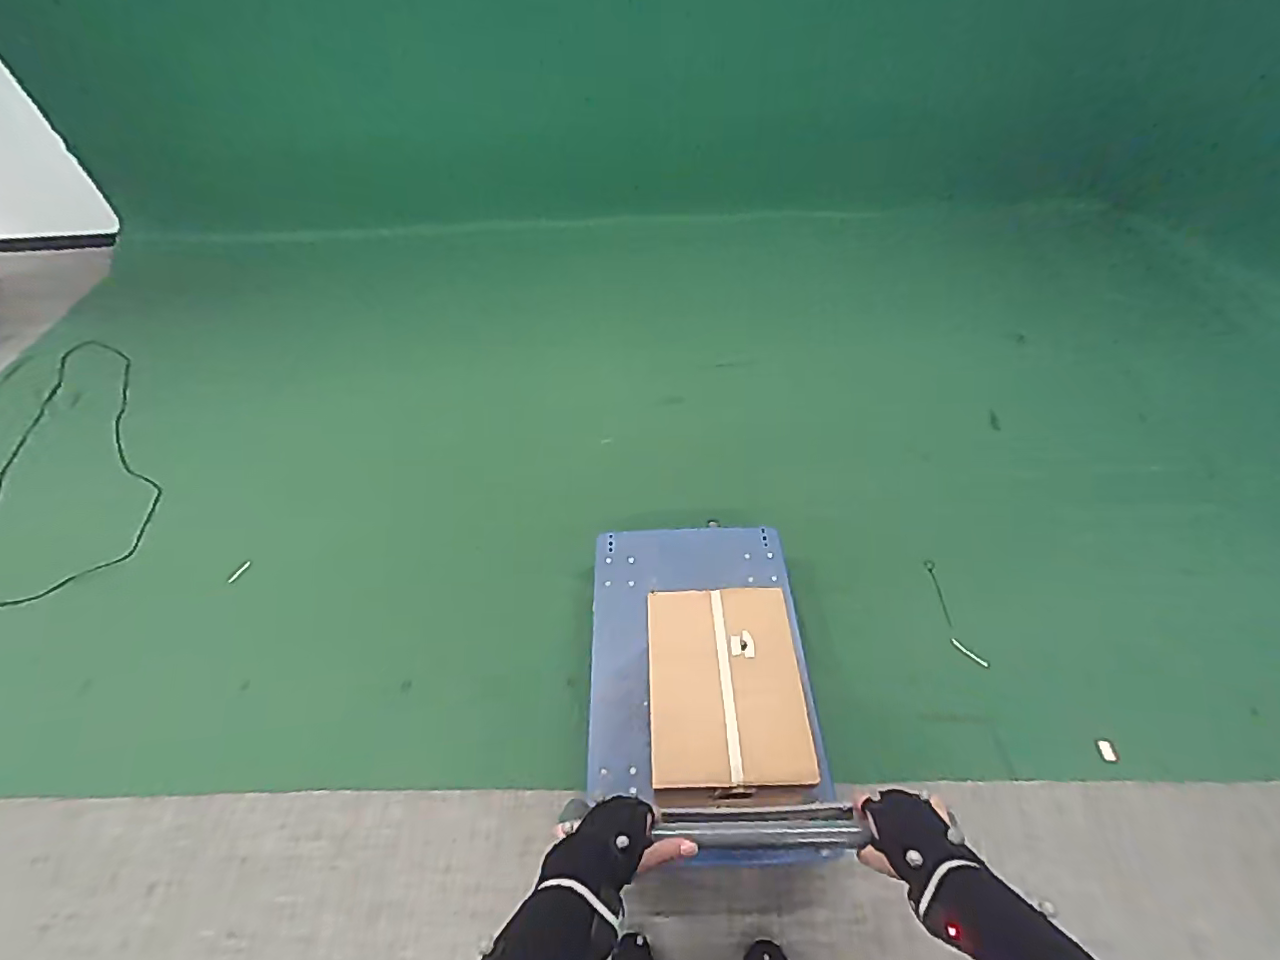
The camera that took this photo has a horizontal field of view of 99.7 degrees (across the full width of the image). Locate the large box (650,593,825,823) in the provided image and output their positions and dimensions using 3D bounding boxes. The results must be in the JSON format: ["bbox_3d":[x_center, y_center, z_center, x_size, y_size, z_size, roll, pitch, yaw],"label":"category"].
[{"bbox_3d":[0.187,0.513,1.221,0.320,0.320,0.408,-2,49,1],"label":"large box"}]
